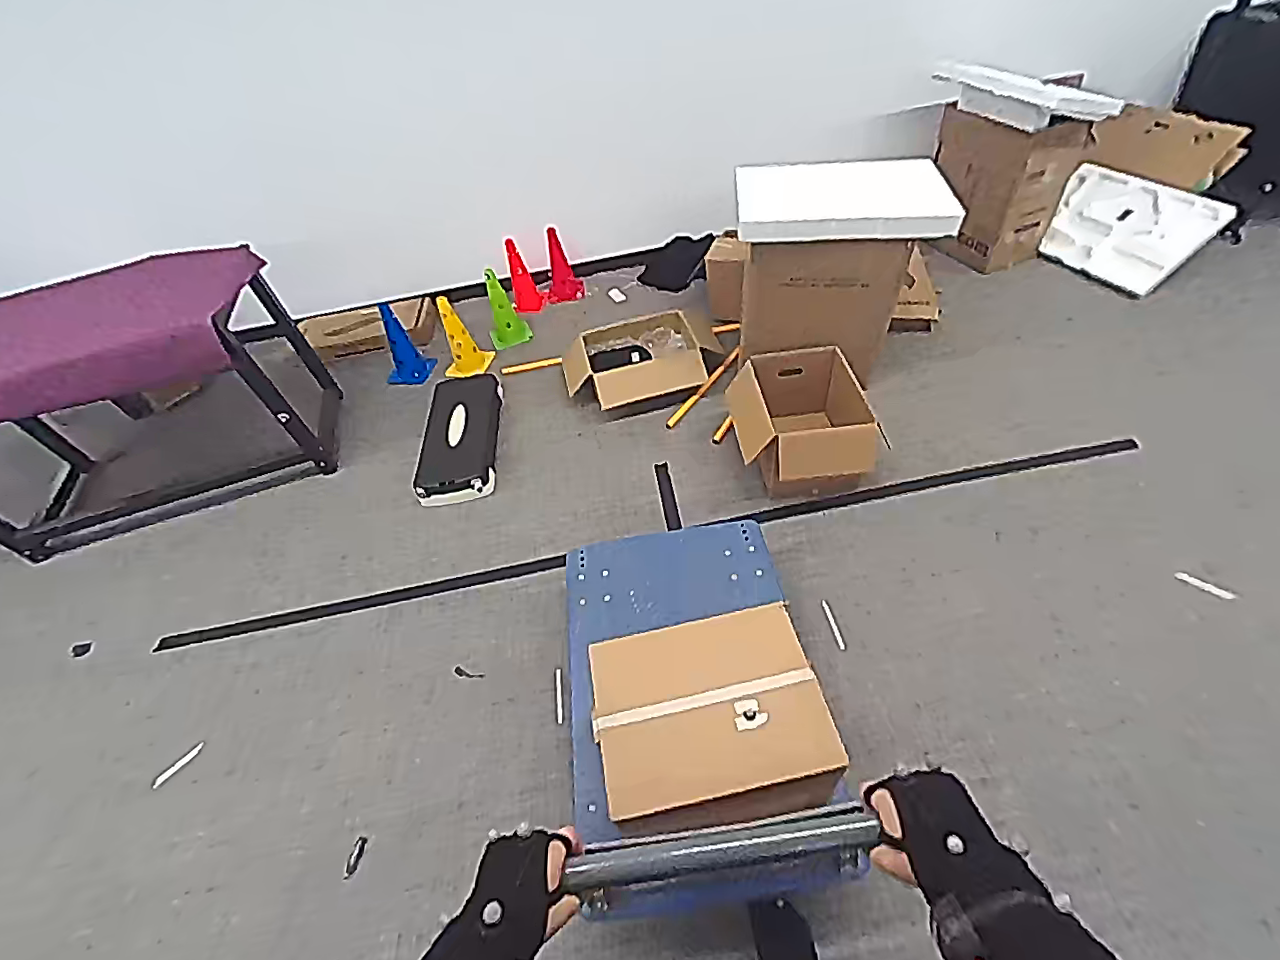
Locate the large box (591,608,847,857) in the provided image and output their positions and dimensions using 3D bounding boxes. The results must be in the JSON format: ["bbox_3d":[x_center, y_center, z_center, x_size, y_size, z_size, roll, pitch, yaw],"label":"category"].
[{"bbox_3d":[0.138,0.511,1.093,0.408,0.320,0.320,-12,48,-3],"label":"large box"}]
